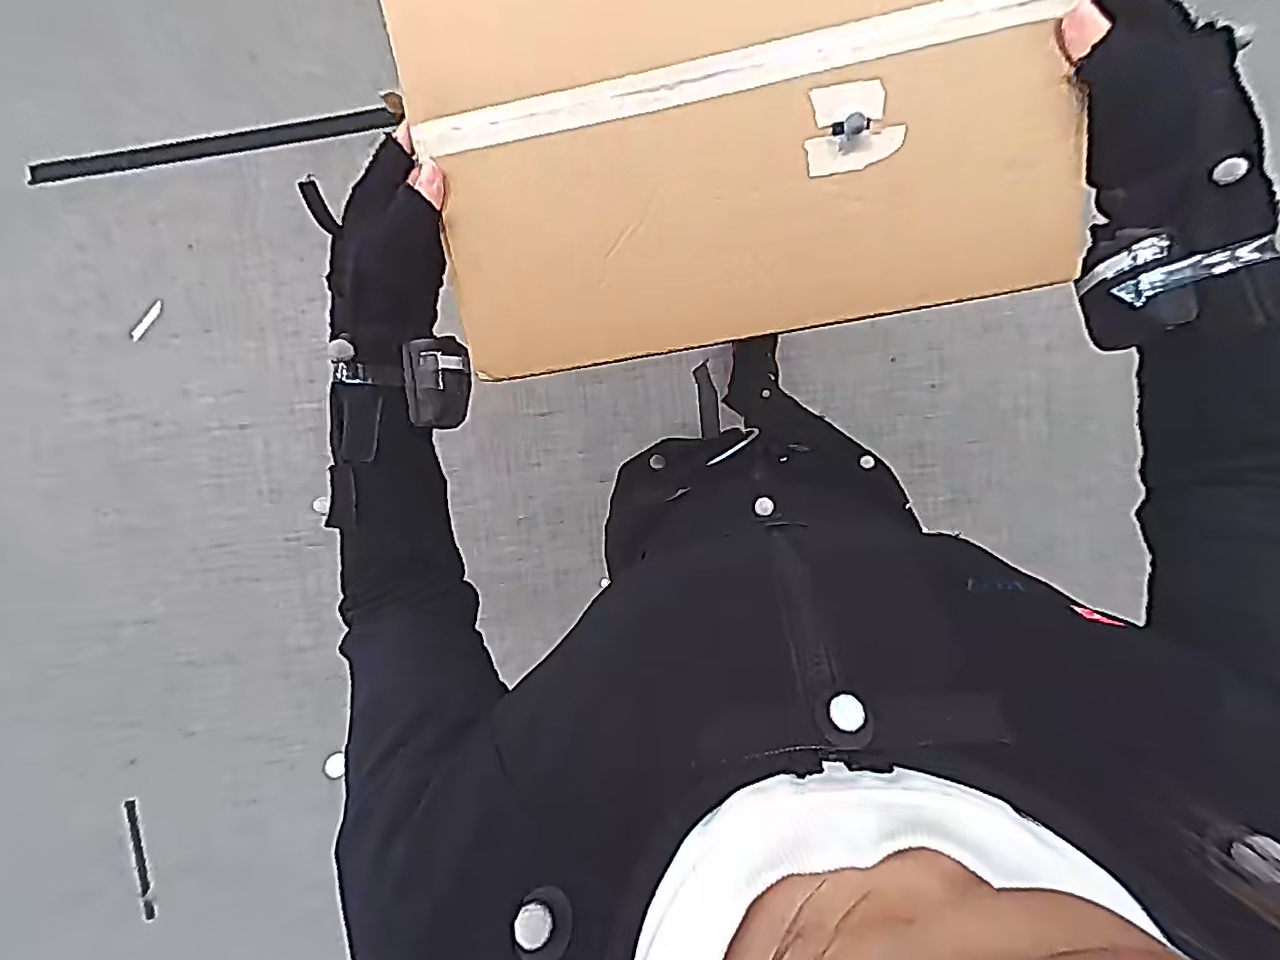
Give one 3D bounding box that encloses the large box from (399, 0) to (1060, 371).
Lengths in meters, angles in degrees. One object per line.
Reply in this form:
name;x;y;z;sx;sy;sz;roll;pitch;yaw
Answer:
large box;0.062;-0.296;0.487;0.408;0.320;0.320;-9;105;5
